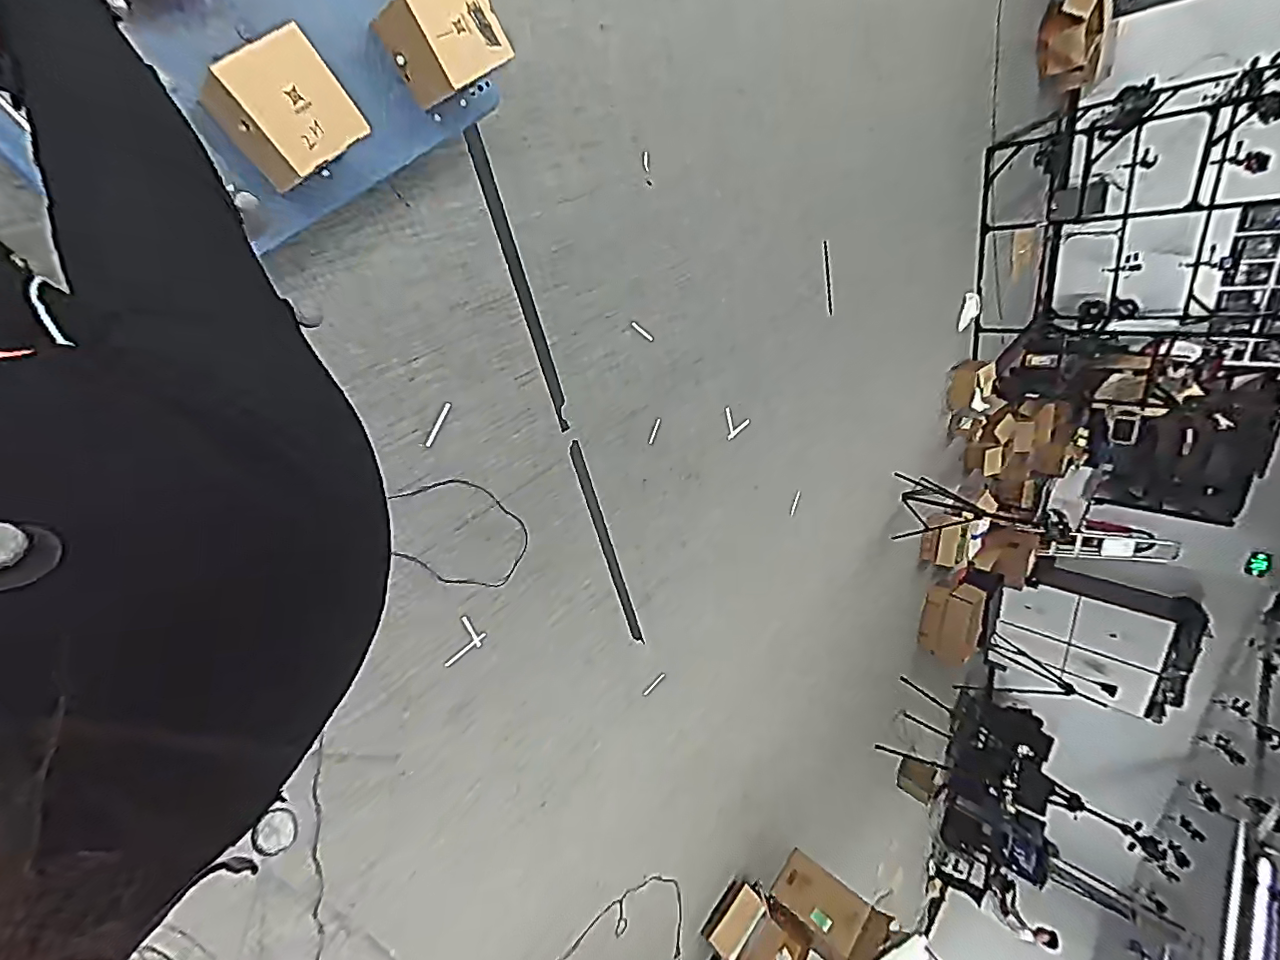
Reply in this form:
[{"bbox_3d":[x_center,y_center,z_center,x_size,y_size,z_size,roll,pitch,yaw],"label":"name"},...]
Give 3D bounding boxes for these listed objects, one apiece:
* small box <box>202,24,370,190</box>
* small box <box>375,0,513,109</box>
[{"bbox_3d":[-0.634,-0.654,0.968,0.168,0.176,0.179,-51,132,-21],"label":"small box"},{"bbox_3d":[-0.406,-0.908,1.119,0.179,0.176,0.168,-48,131,-22],"label":"small box"}]
